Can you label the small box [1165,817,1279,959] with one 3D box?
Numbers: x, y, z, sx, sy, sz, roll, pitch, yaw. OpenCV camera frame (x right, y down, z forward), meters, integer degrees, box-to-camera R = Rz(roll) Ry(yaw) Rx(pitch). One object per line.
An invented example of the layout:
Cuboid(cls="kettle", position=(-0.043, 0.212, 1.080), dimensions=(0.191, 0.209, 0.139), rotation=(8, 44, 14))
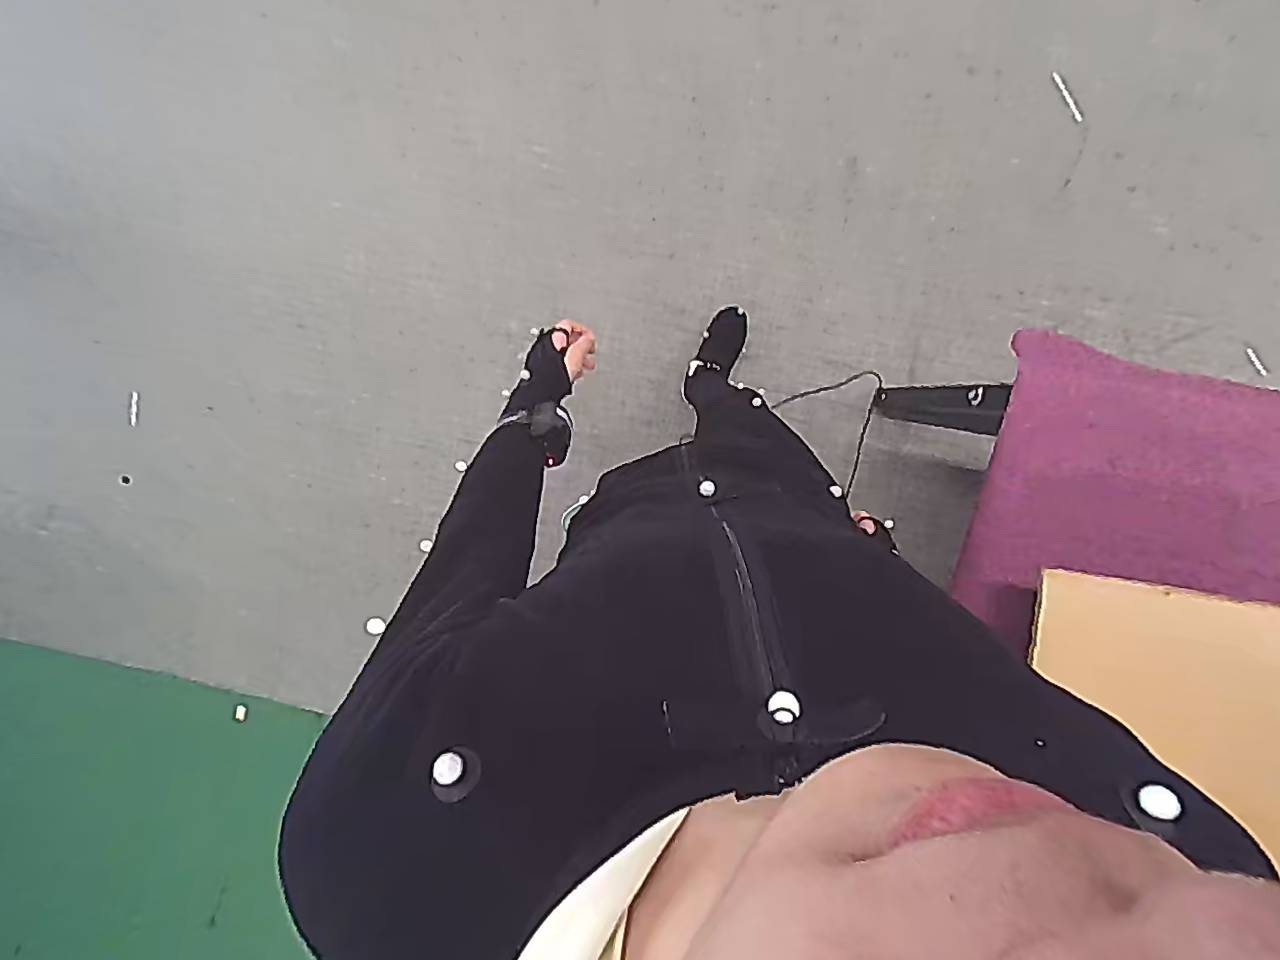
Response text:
Cuboid(cls="small box", position=(0.804, 0.545, 0.647), dimensions=(0.179, 0.176, 0.168), rotation=(8, 102, 2))
